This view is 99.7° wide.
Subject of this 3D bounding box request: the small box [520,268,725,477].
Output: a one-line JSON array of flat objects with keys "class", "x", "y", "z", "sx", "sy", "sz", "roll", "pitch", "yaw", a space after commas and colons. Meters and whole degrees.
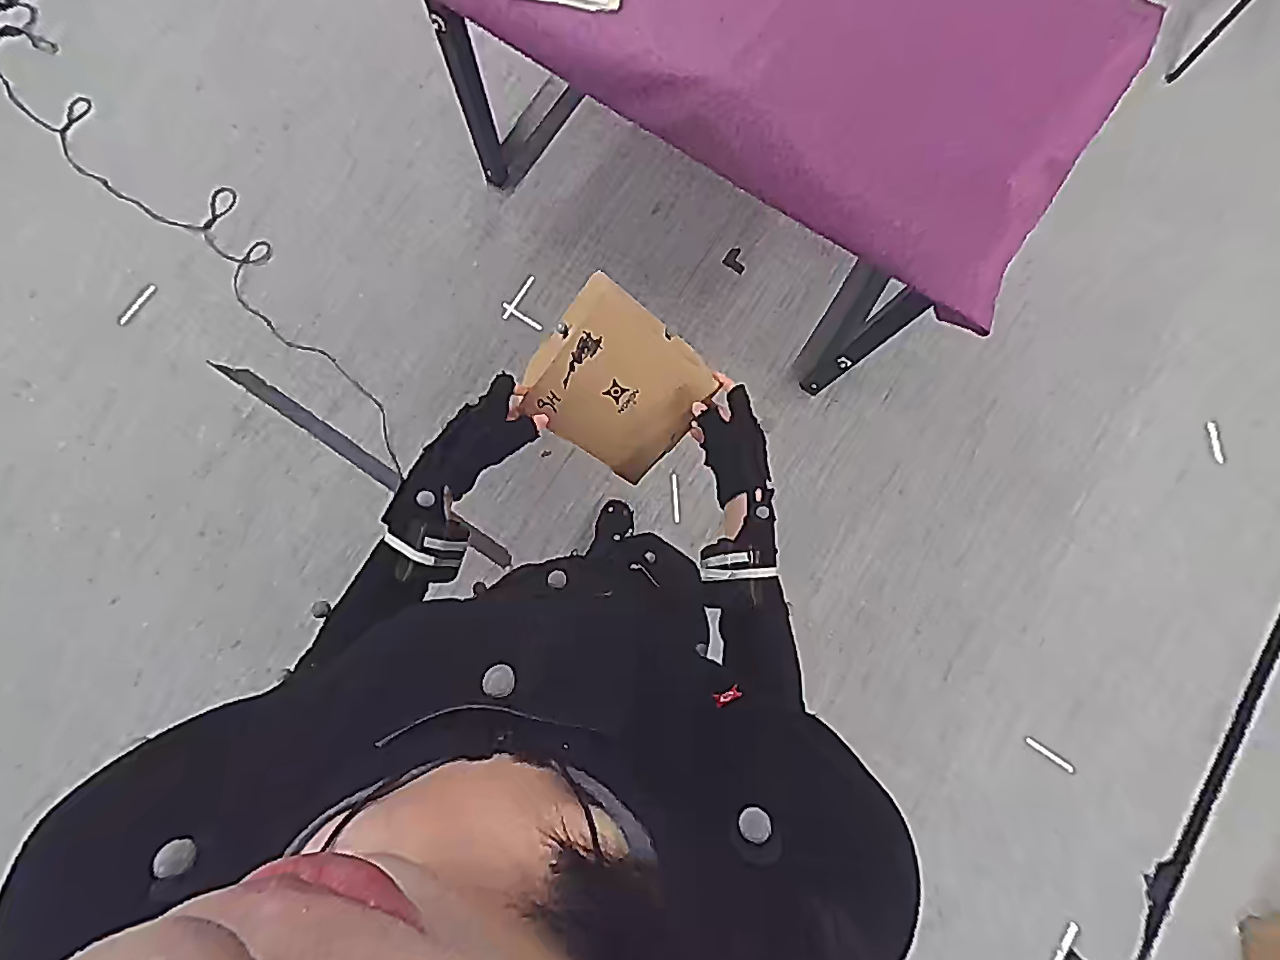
[{"class": "small box", "x": -0.027, "y": -0.142, "z": 0.674, "sx": 0.179, "sy": 0.176, "sz": 0.168, "roll": 34, "pitch": 108, "yaw": -23}]
